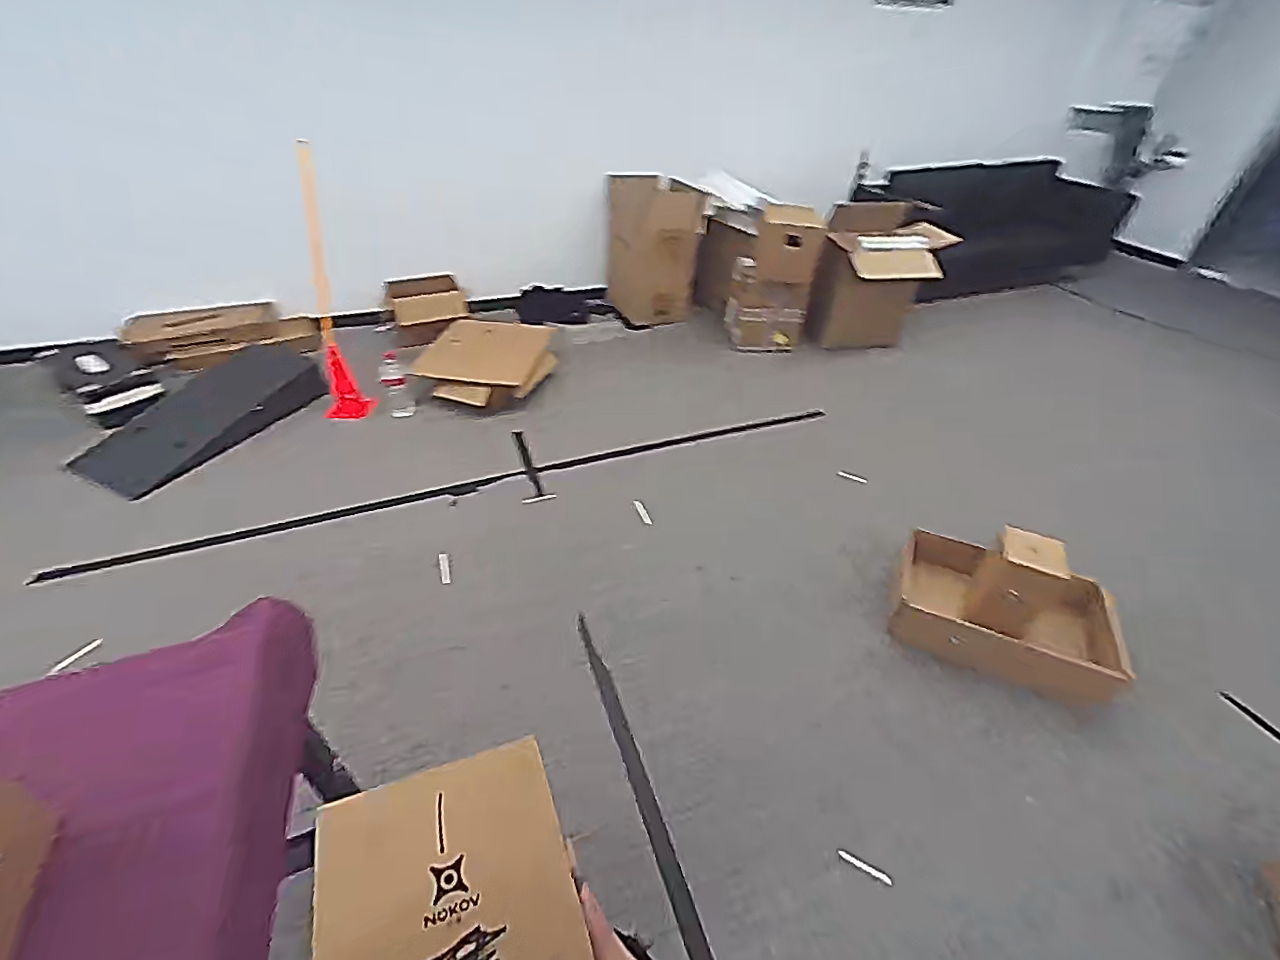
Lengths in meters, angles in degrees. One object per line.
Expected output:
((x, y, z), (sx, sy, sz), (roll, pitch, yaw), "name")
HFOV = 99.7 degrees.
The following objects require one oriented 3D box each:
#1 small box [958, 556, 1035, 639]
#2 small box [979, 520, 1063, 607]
((1.185, 0.390, 1.804), (0.168, 0.176, 0.179), (19, 42, 20), "small box")
((1.191, 0.263, 1.704), (0.168, 0.176, 0.179), (18, 42, 20), "small box")
